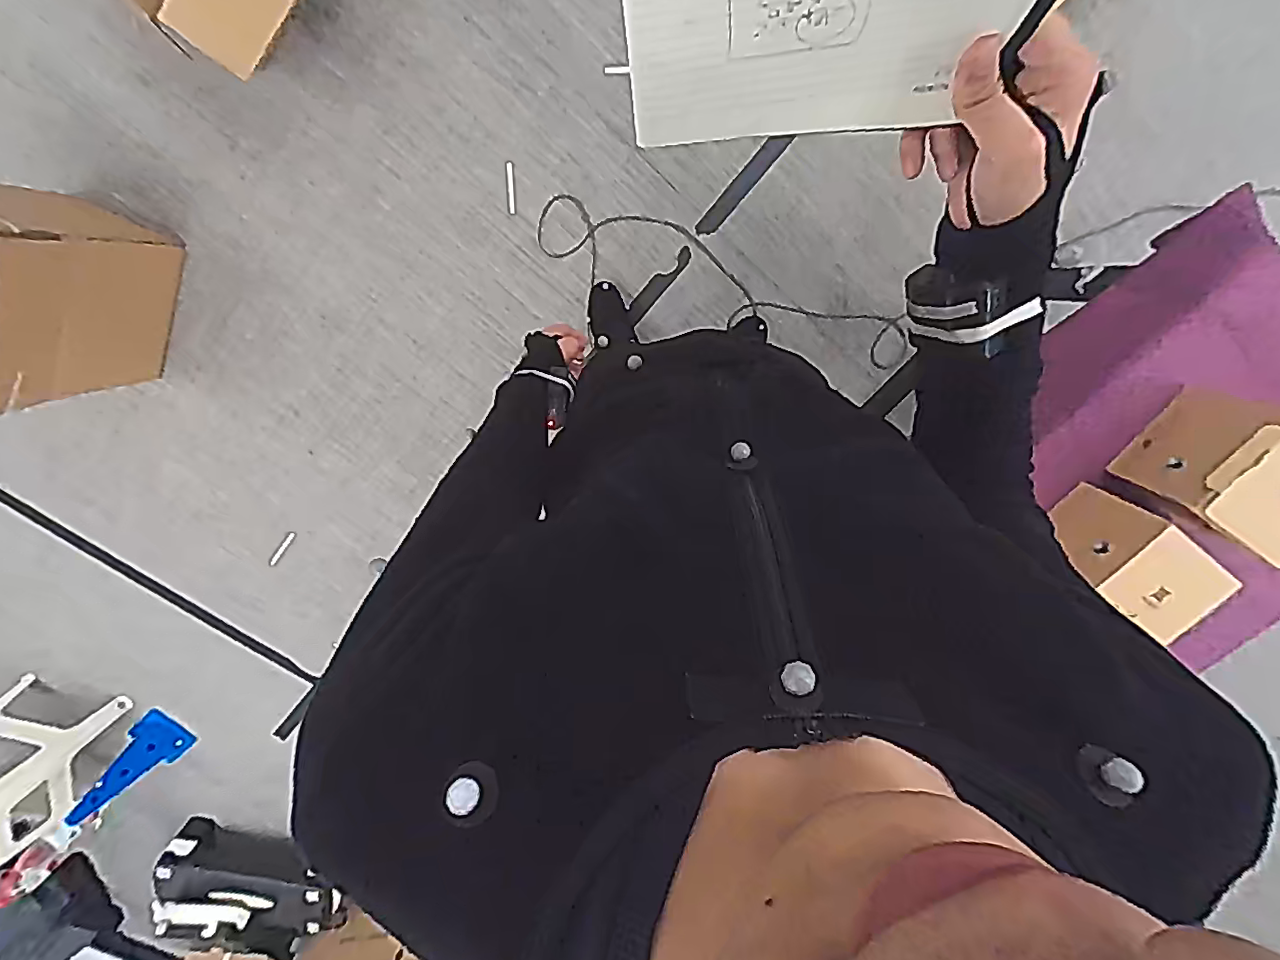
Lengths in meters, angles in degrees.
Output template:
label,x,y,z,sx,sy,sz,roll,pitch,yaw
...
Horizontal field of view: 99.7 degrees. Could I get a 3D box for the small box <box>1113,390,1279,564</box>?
label,x,y,z,sx,sy,sz,roll,pitch,yaw
small box,0.869,-0.015,0.794,0.179,0.176,0.168,31,109,-11
